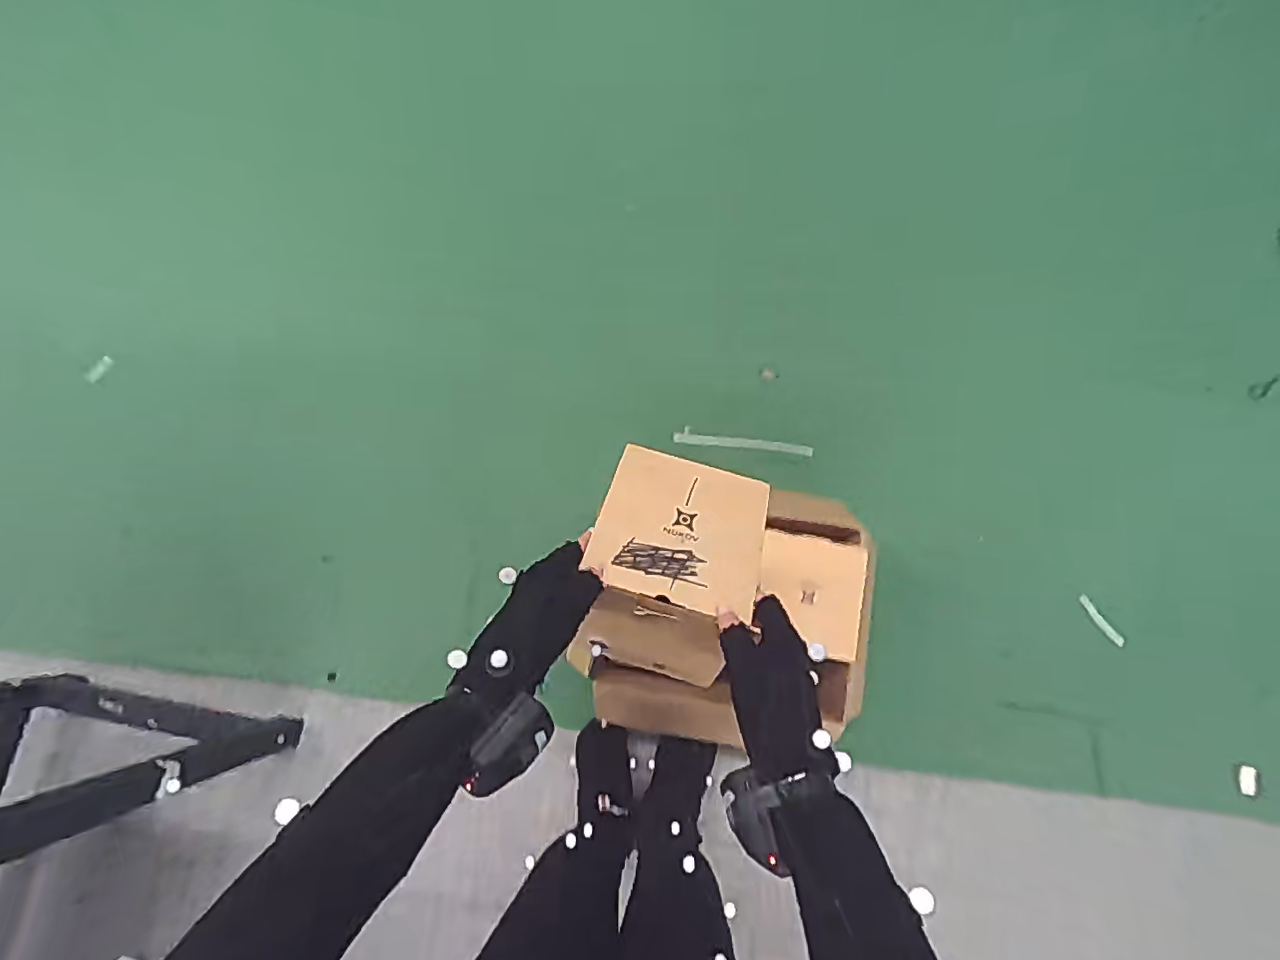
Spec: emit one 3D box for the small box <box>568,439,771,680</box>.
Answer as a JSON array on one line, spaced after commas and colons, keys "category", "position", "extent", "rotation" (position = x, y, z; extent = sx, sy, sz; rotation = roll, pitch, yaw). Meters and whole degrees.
[{"category": "small box", "position": [0.028, 0.090, 0.583], "extent": [0.168, 0.176, 0.179], "rotation": [17, 51, 4]}]
